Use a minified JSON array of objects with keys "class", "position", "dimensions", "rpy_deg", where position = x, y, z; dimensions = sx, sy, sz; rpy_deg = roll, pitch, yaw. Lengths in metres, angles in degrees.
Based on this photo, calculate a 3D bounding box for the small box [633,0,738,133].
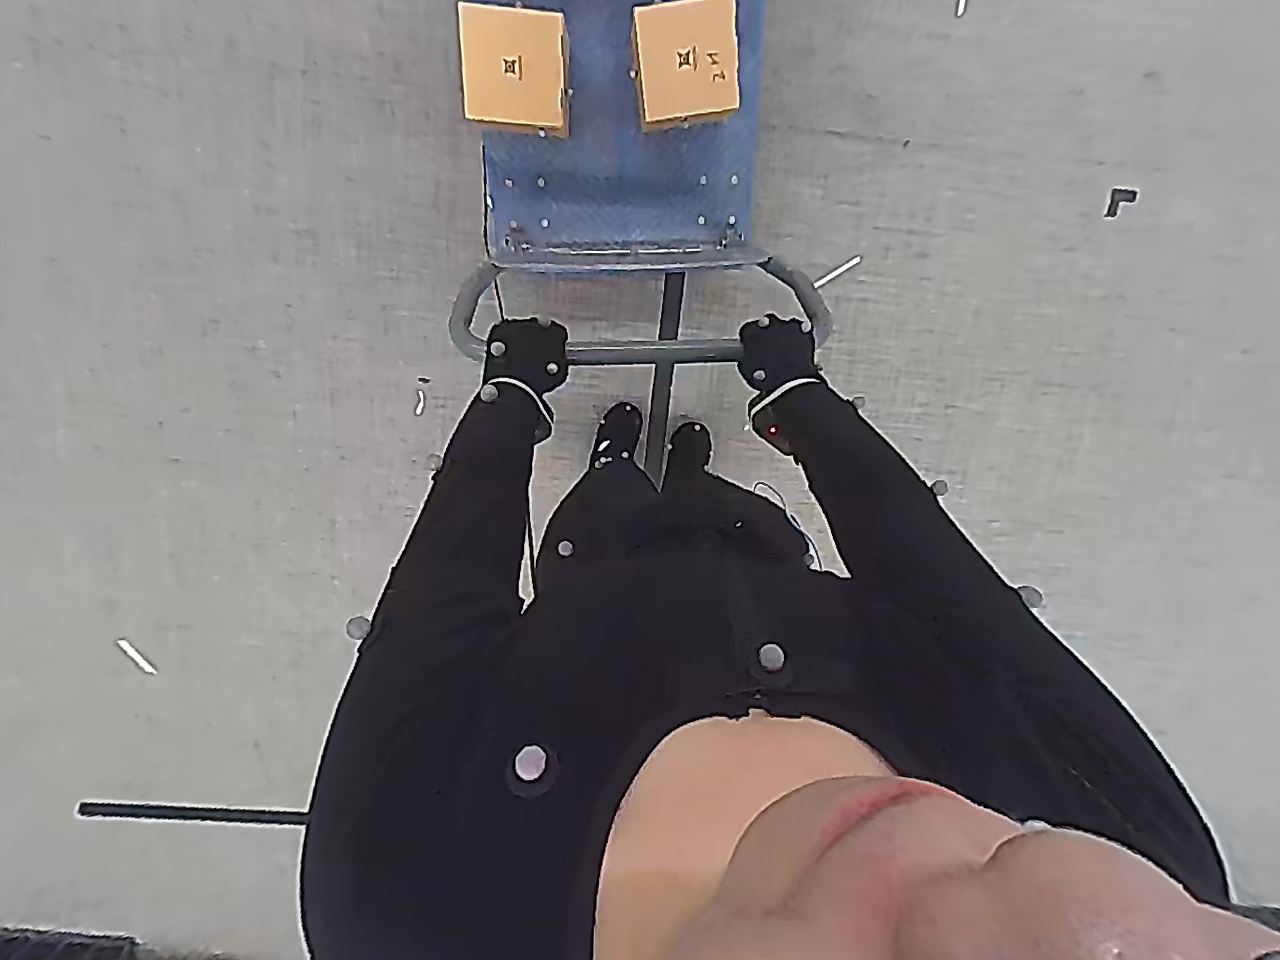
[{"class":"small box","position":[0.081,-0.769,1.019],"dimensions":[0.179,0.176,0.168],"rpy_deg":[-8,118,1]}]

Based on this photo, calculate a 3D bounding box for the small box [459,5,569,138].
[{"class":"small box","position":[-0.227,-0.752,1.014],"dimensions":[0.179,0.176,0.168],"rpy_deg":[1,117,-6]}]
